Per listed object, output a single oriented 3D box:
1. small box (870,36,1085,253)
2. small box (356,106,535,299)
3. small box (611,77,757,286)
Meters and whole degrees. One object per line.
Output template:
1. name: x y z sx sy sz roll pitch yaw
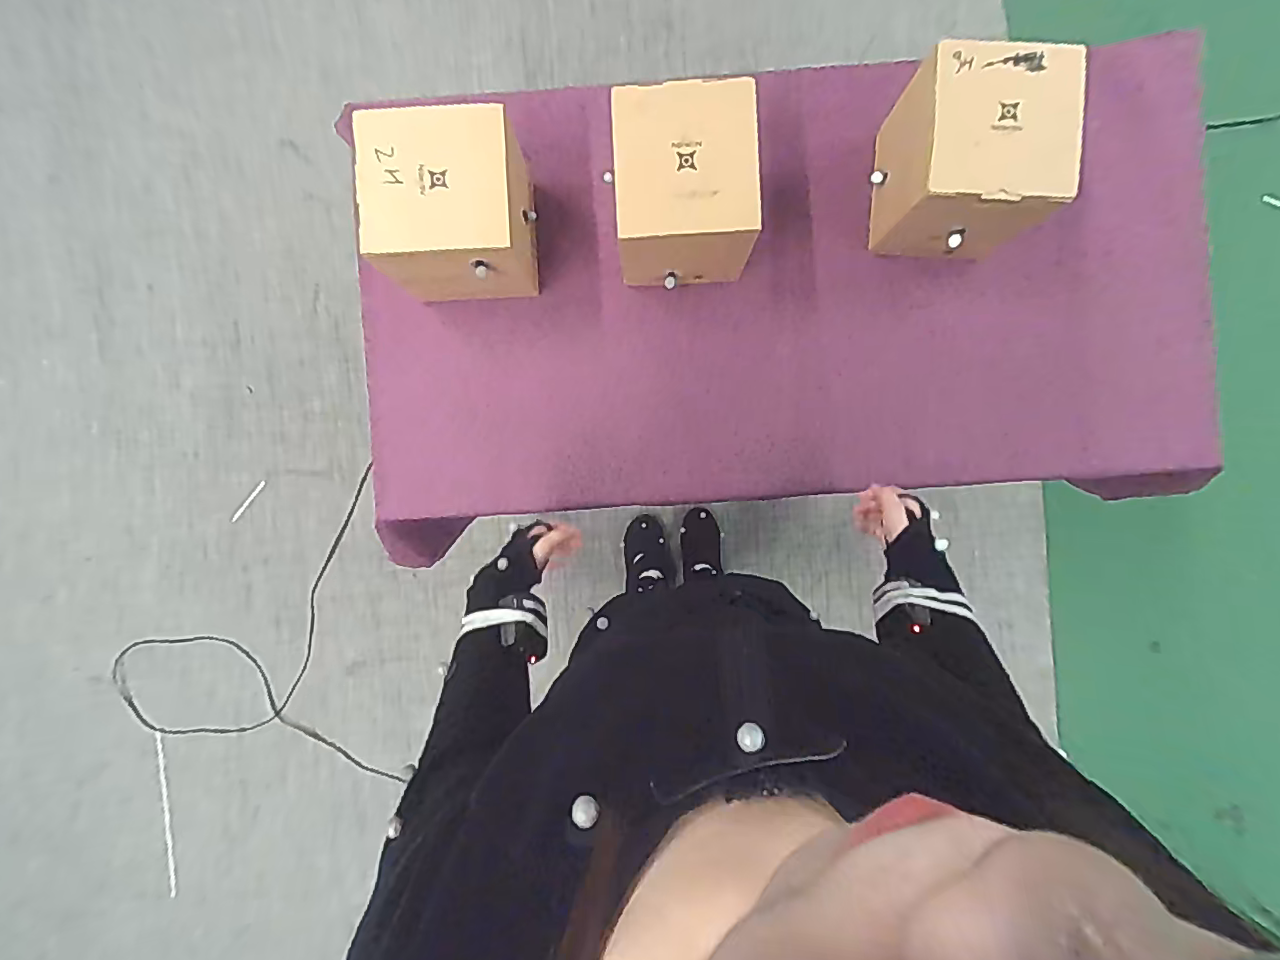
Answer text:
1. small box: 0.406 -0.404 0.680 0.168 0.176 0.179 4 91 1
2. small box: -0.236 -0.343 0.698 0.179 0.176 0.168 -2 90 1
3. small box: 0.051 -0.367 0.693 0.168 0.176 0.179 -2 91 2
